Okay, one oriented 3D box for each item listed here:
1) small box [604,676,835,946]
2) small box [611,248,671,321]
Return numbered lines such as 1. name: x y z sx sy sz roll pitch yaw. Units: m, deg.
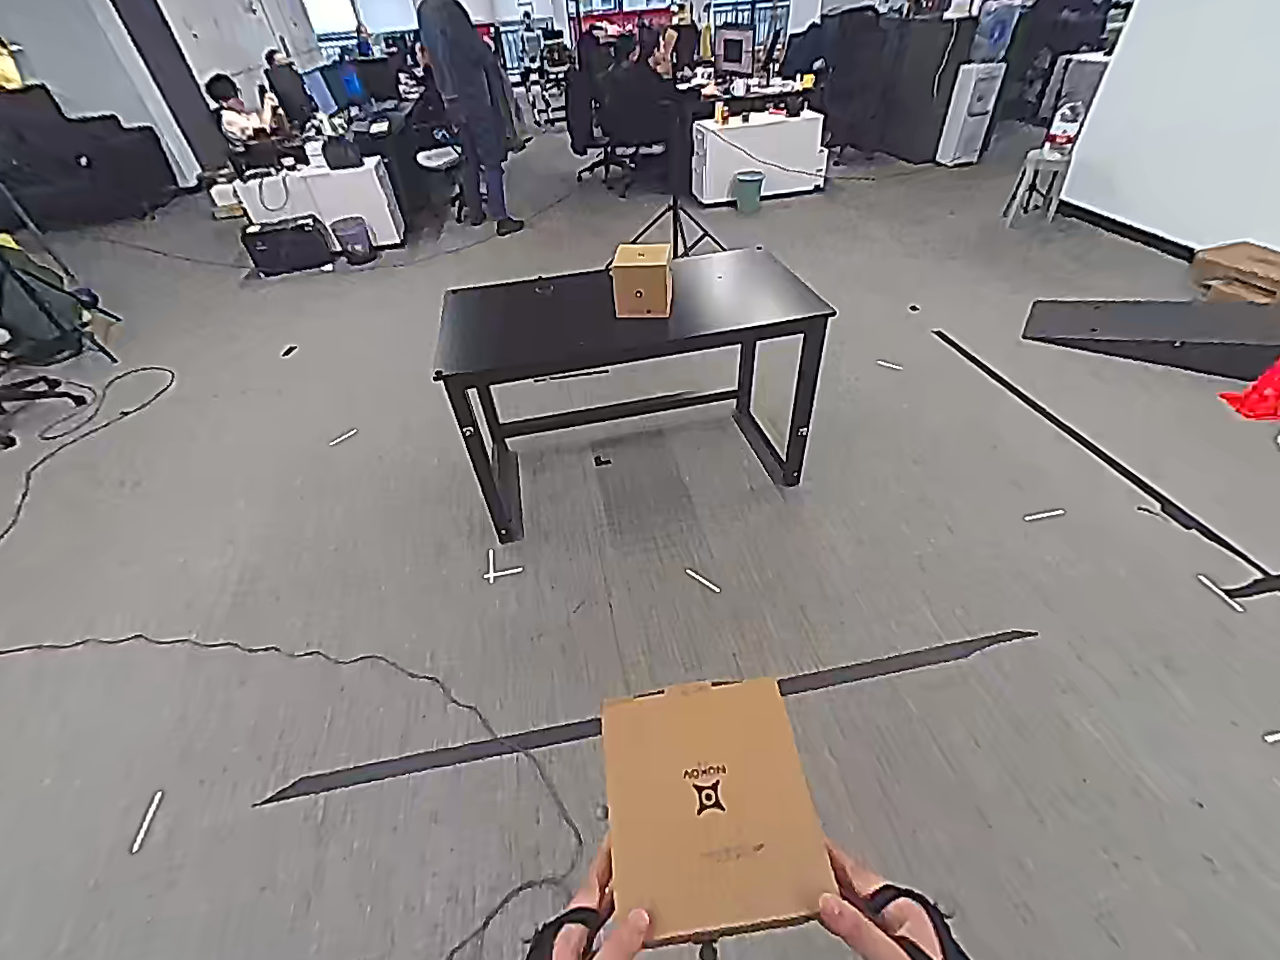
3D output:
1. small box: 0.057 0.312 0.510 0.168 0.176 0.179 -7 48 -3
2. small box: 0.009 -0.618 1.718 0.168 0.176 0.179 2 42 7
